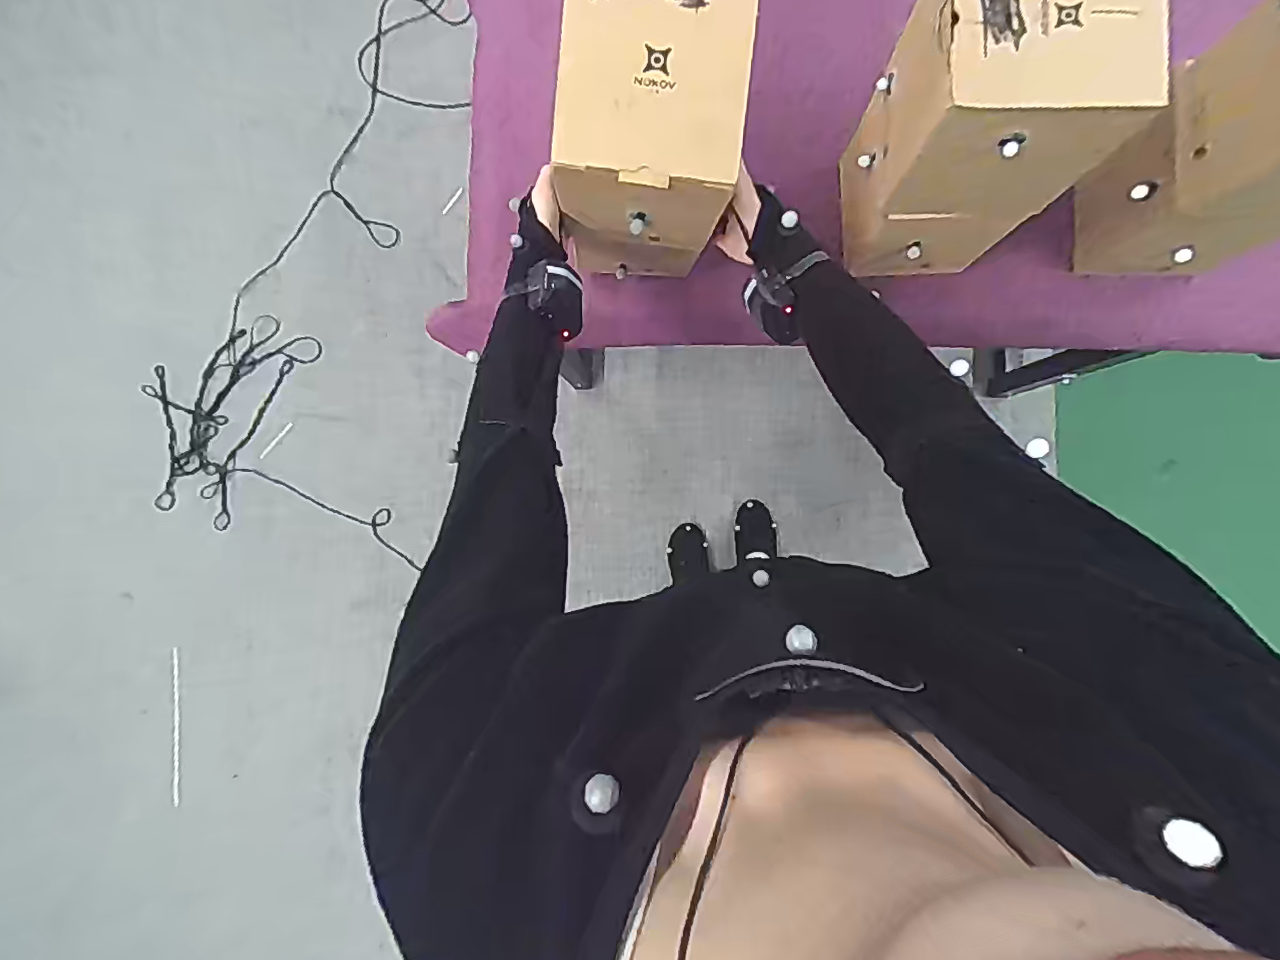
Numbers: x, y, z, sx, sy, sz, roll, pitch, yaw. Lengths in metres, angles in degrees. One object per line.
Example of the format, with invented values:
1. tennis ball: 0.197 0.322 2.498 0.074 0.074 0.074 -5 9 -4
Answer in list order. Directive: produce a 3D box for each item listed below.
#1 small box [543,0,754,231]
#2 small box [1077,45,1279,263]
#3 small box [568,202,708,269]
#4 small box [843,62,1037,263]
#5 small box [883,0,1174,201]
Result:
1. small box: 0.006 -0.368 0.535 0.168 0.176 0.179 7 95 -3
2. small box: 0.681 -0.383 0.663 0.168 0.176 0.179 3 88 5
3. small box: -0.005 -0.392 0.698 0.168 0.176 0.179 2 96 -4
4. small box: 0.367 -0.391 0.690 0.168 0.176 0.179 -1 87 5
5. small box: 0.353 -0.395 0.526 0.179 0.176 0.168 3 88 4
